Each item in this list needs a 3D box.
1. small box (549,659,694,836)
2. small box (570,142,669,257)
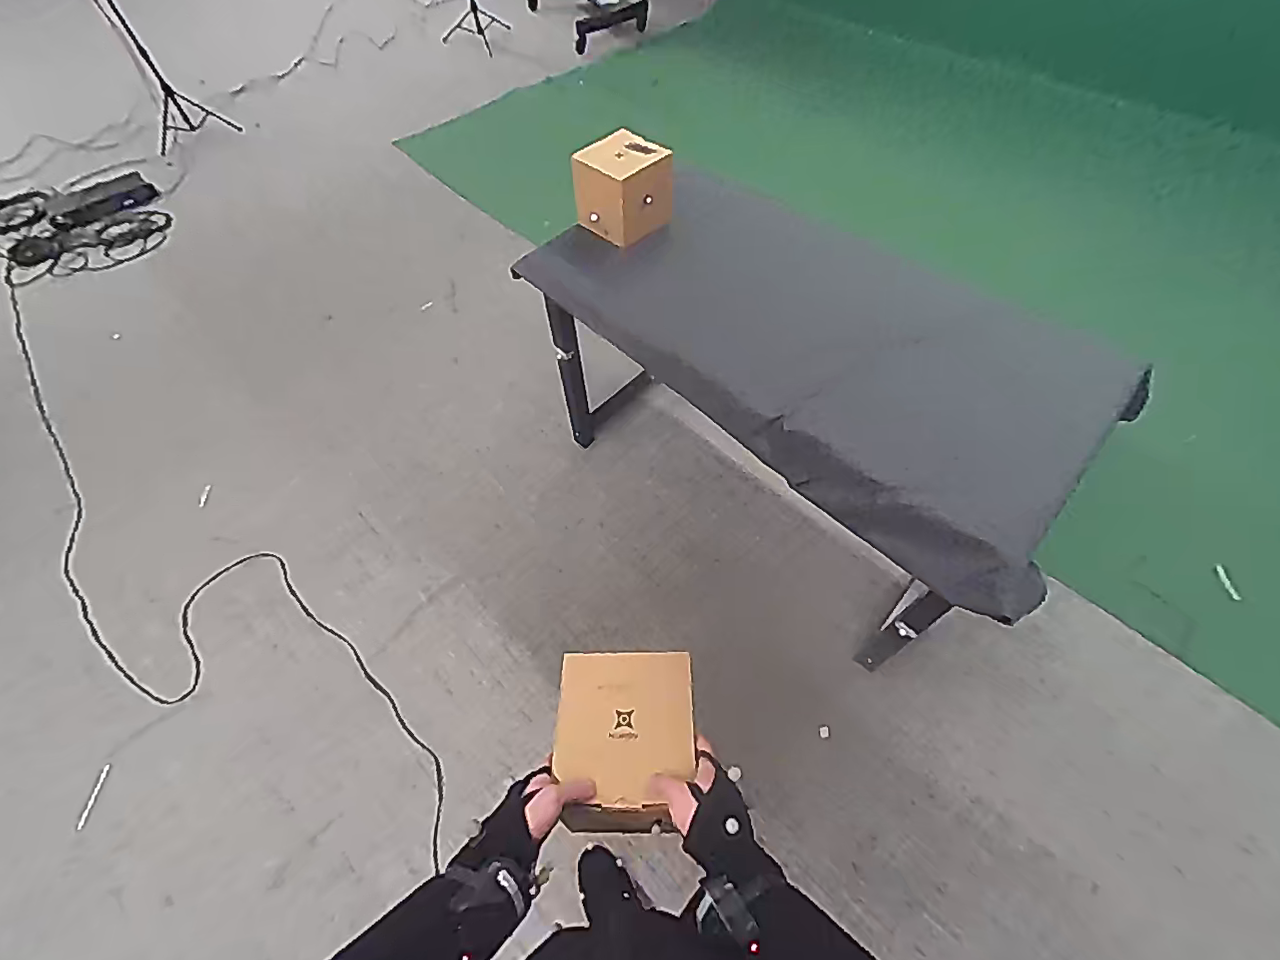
[{"bbox_3d":[-0.016,0.354,0.709,0.168,0.176,0.179,-2,47,2],"label":"small box"},{"bbox_3d":[-0.050,-0.683,1.322,0.168,0.176,0.179,37,65,23],"label":"small box"}]
